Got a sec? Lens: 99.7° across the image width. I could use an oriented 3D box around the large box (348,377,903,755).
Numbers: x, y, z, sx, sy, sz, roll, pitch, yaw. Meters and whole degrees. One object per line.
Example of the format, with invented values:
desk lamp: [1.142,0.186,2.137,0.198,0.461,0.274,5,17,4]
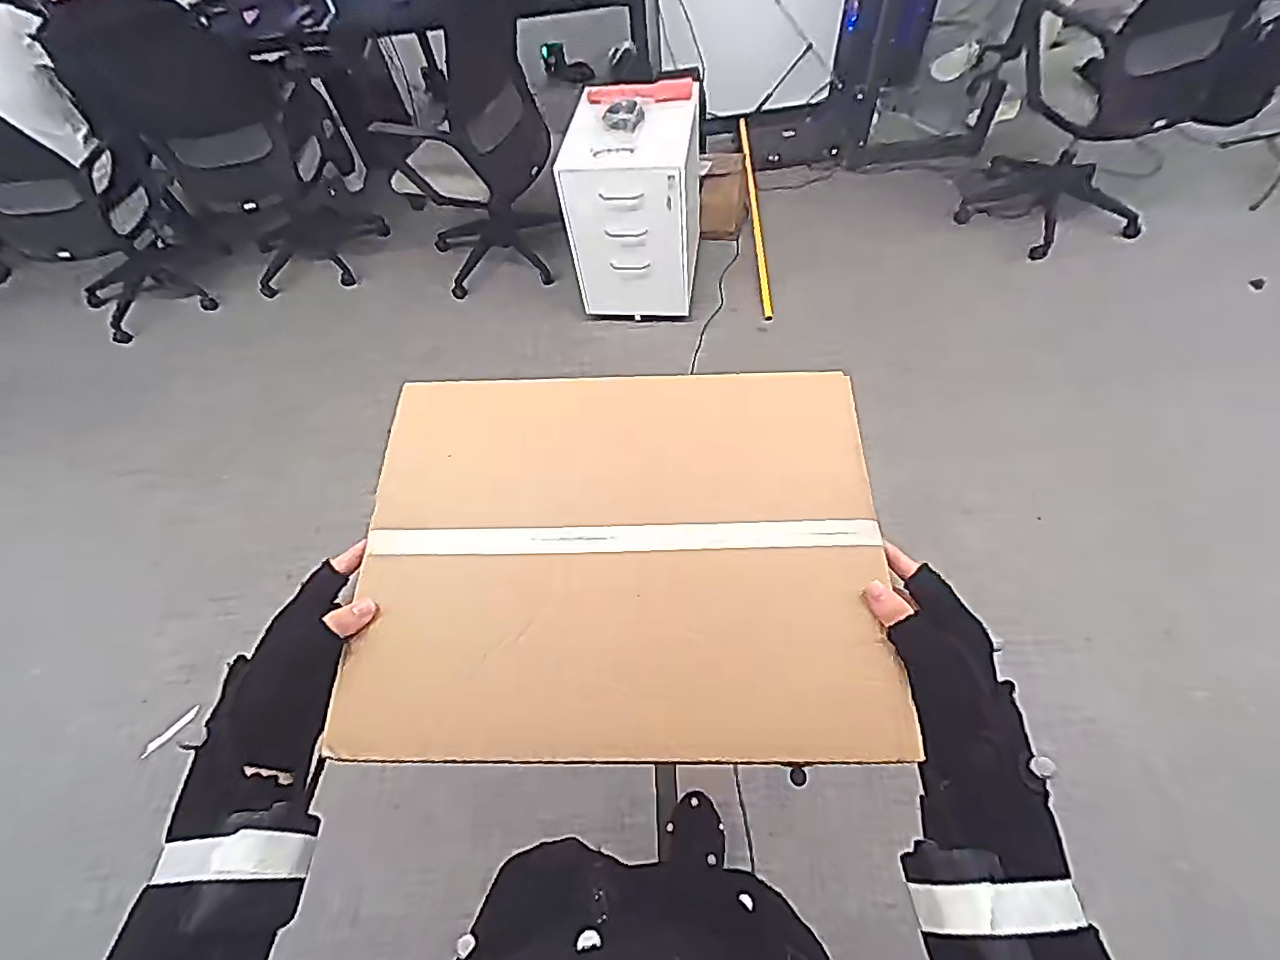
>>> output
large box: [-0.007,0.112,0.578,0.408,0.320,0.320,-1,64,3]
